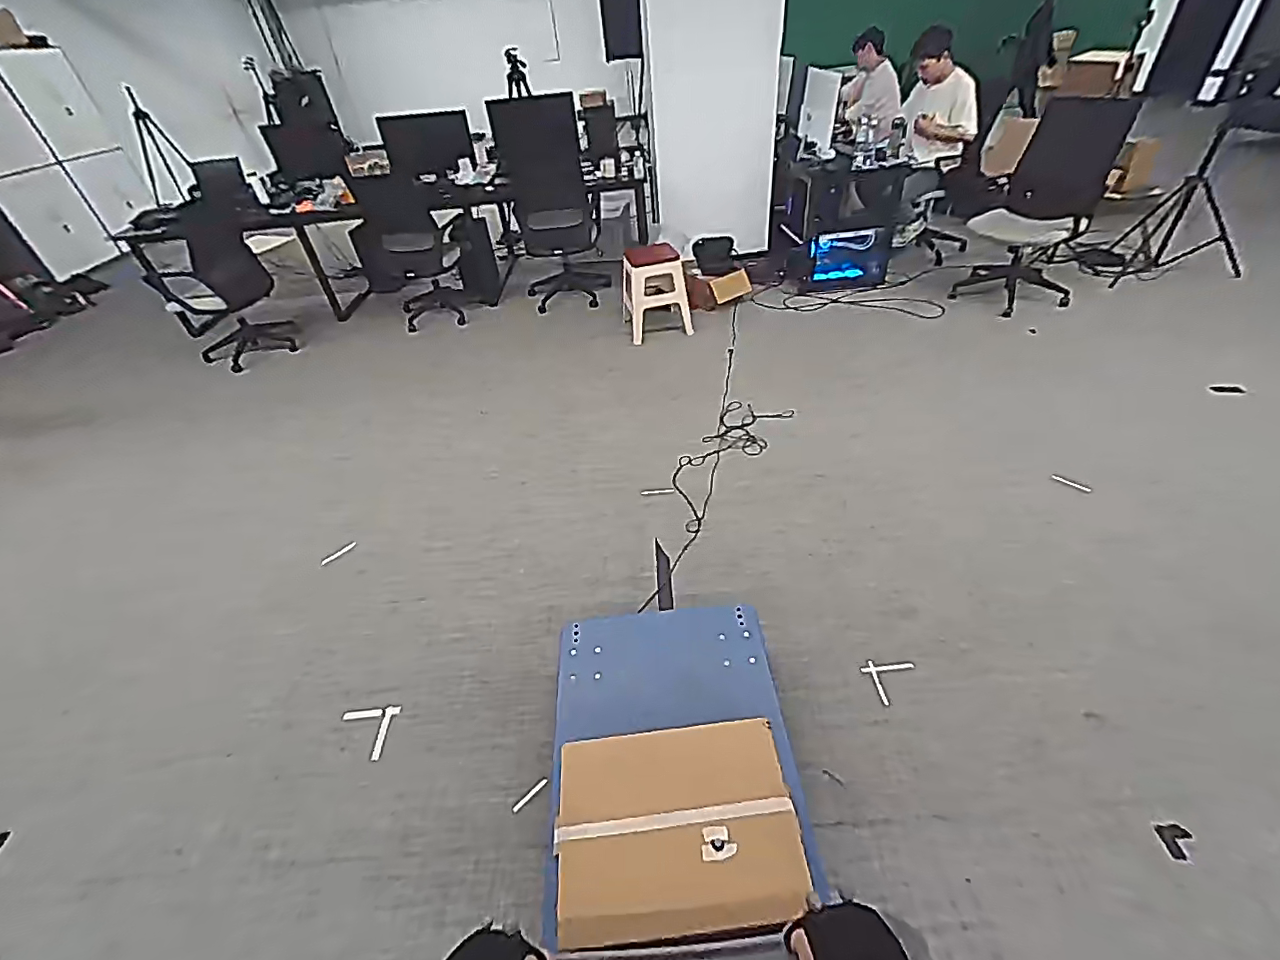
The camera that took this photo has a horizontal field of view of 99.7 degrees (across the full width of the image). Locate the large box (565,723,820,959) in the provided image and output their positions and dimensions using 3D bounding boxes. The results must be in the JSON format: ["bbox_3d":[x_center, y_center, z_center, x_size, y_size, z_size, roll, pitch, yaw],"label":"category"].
[{"bbox_3d":[0.079,0.714,1.036,0.408,0.320,0.320,-7,41,-1],"label":"large box"}]
